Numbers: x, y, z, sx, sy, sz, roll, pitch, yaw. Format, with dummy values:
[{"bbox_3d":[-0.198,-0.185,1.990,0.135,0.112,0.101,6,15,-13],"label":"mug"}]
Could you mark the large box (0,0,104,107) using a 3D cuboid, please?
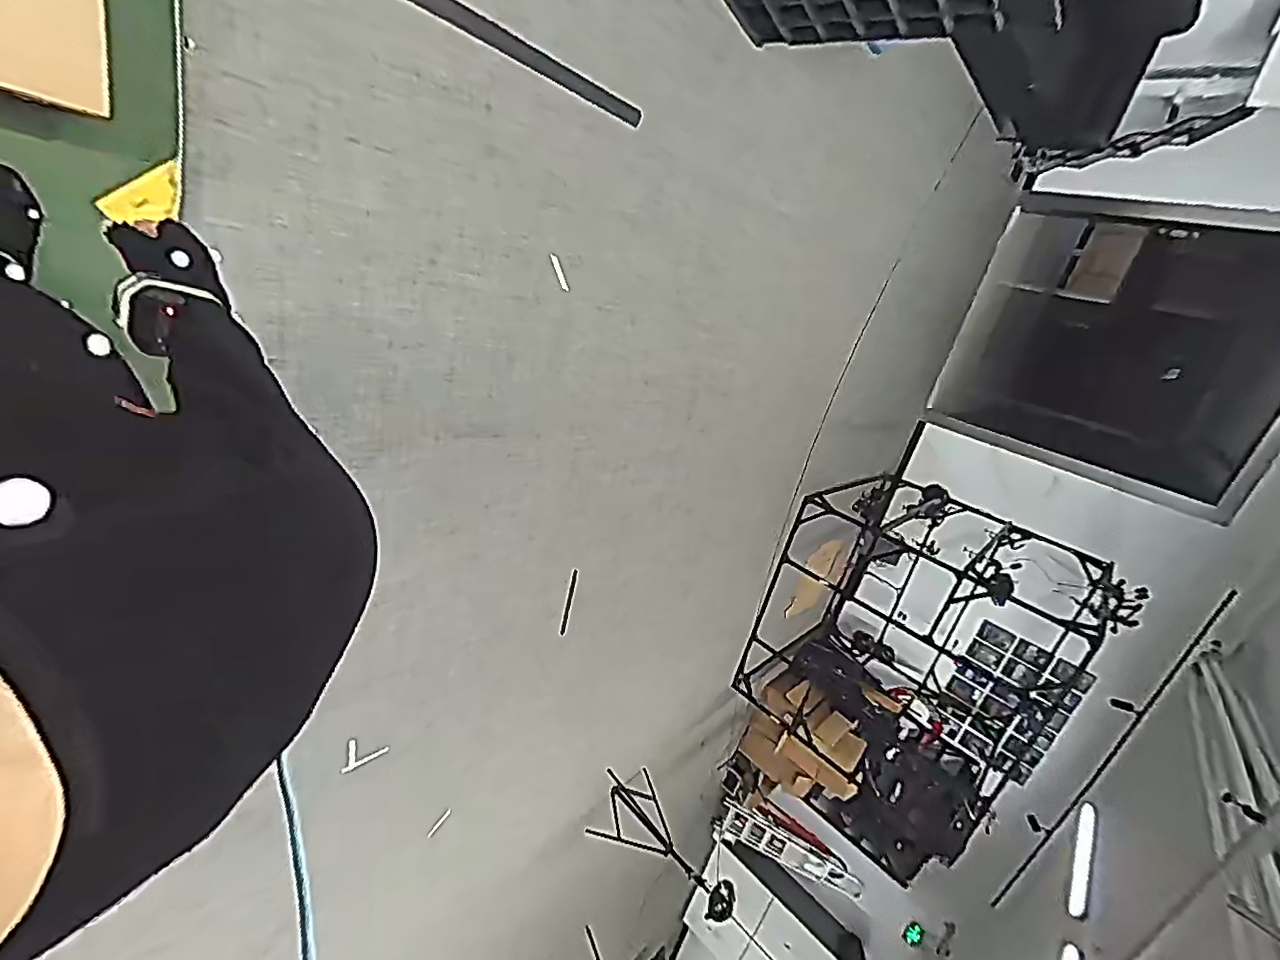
[{"bbox_3d":[-0.957,-0.694,0.642,0.408,0.320,0.320,-10,122,-49],"label":"large box"}]
